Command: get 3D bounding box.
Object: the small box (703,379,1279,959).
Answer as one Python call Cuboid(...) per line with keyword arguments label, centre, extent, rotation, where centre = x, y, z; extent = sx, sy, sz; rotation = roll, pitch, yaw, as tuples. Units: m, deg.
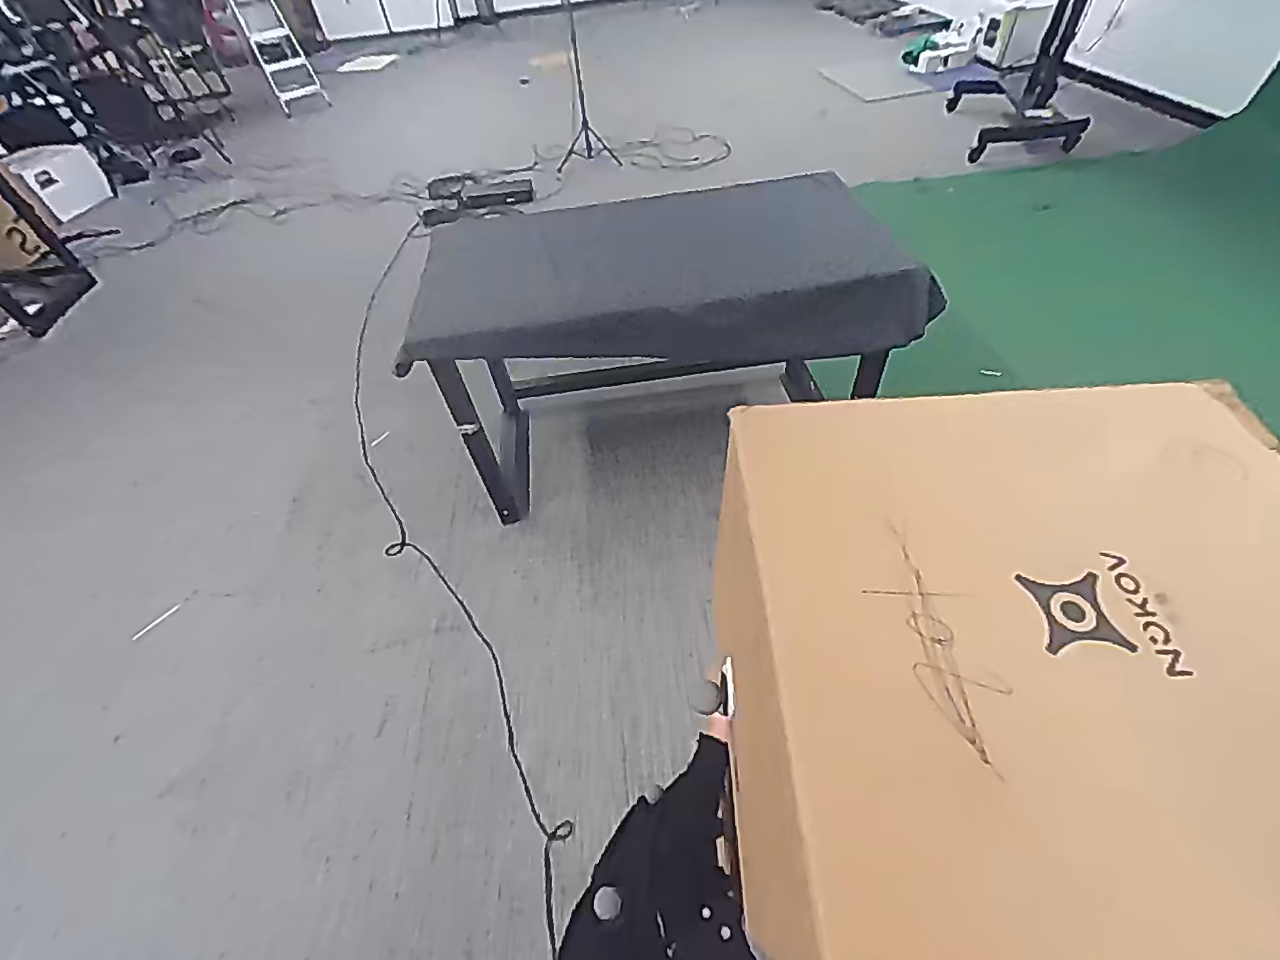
Cuboid(label="small box", centre=(0.121, 0.080, 0.225), extent=(0.179, 0.176, 0.168), rotation=(-4, 54, 3))
